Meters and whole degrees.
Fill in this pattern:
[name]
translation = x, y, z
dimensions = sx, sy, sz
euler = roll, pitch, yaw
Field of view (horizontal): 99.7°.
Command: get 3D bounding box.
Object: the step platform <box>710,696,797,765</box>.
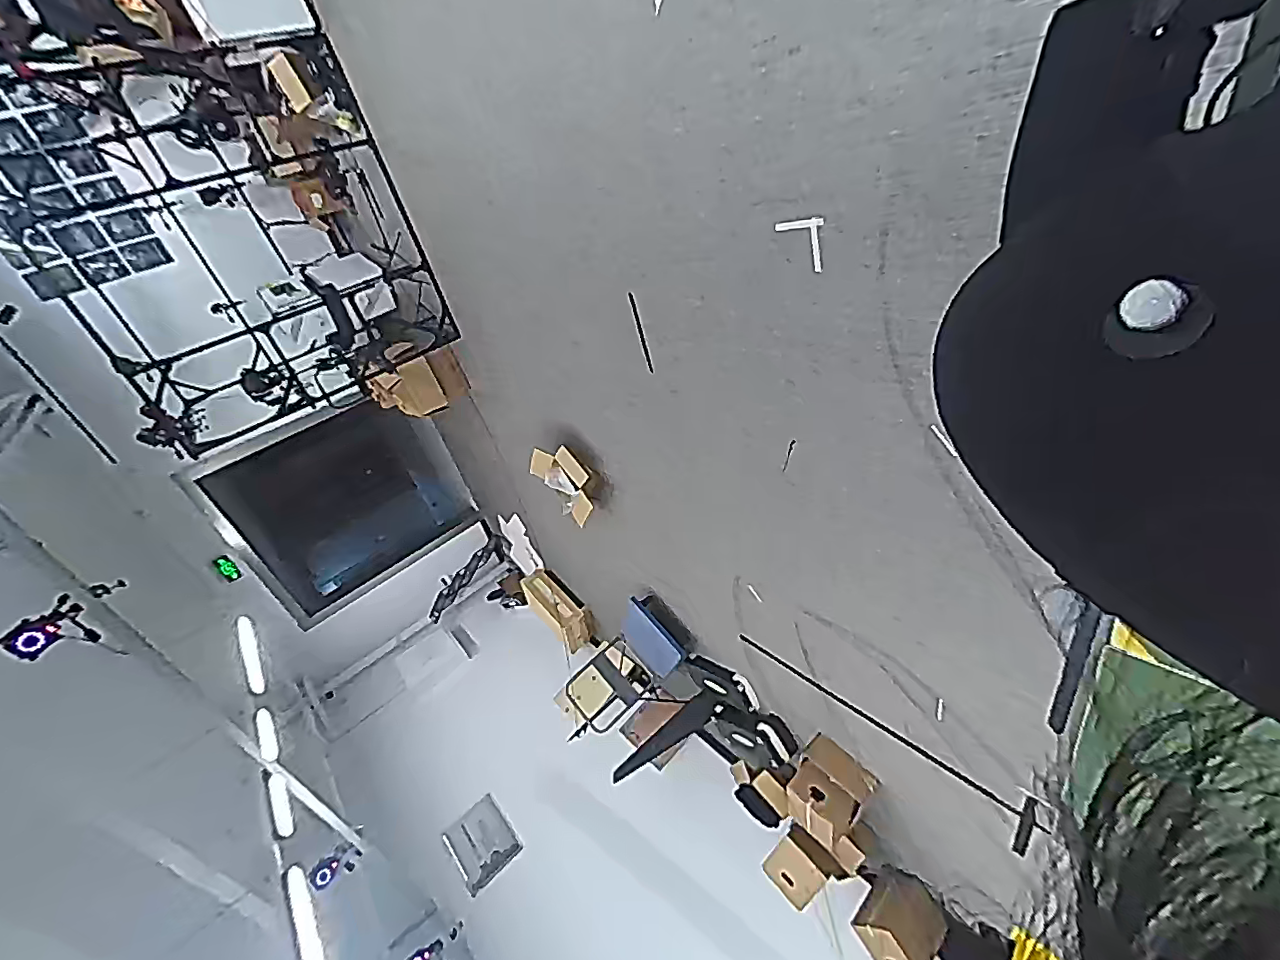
[step platform]
translation = 0.792, 1.789, 3.883
dimensions = 0.286, 0.204, 0.684
euler = 58, 153, -6
